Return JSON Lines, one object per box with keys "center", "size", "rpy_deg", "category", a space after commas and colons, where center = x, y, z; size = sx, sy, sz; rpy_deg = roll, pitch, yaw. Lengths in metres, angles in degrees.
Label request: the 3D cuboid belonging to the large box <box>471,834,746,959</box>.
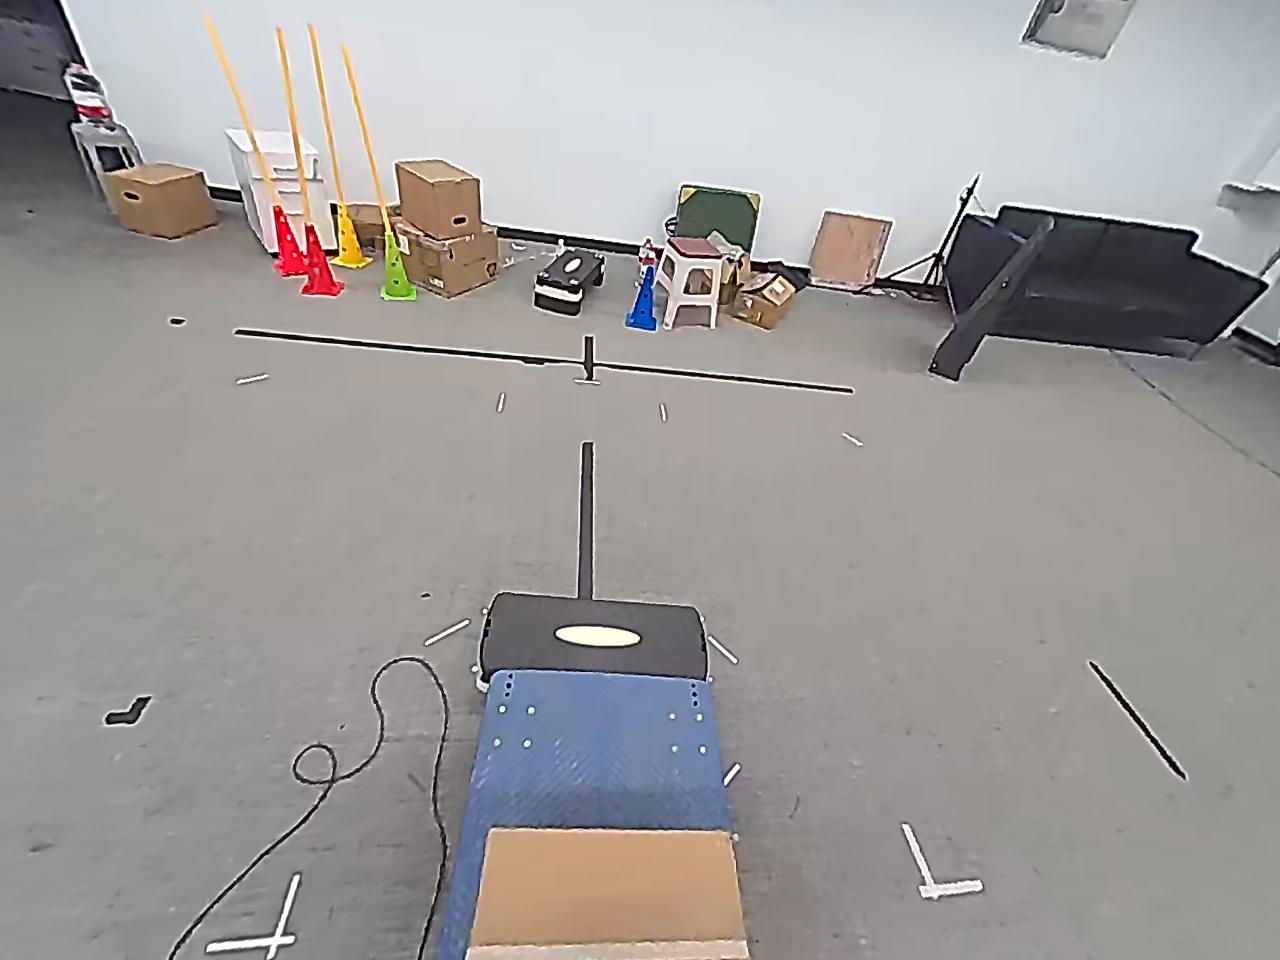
{"center": [-0.065, 0.797, 0.865], "size": [0.408, 0.320, 0.320], "rpy_deg": [6, 40, -9], "category": "large box"}
